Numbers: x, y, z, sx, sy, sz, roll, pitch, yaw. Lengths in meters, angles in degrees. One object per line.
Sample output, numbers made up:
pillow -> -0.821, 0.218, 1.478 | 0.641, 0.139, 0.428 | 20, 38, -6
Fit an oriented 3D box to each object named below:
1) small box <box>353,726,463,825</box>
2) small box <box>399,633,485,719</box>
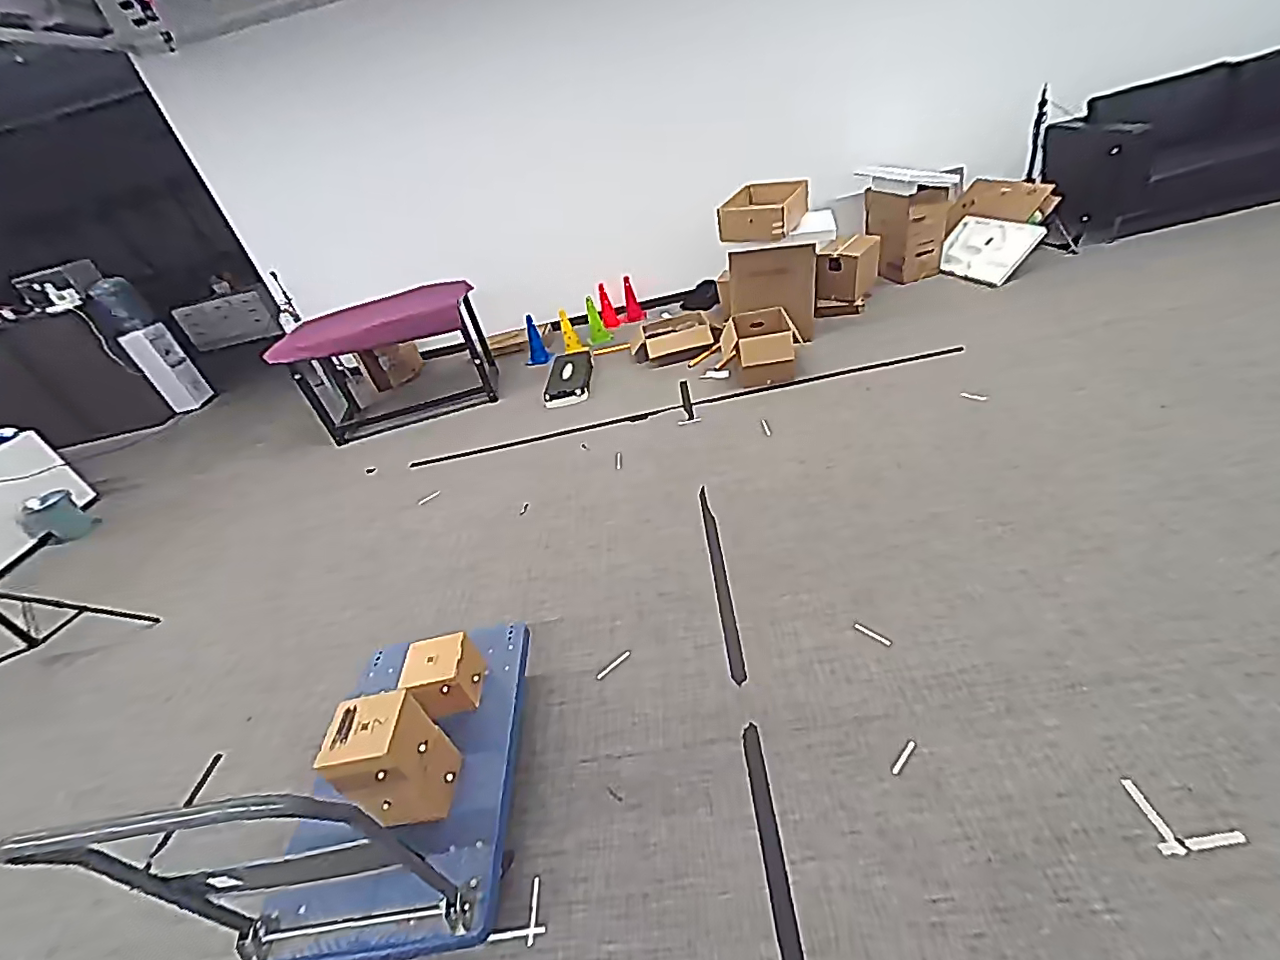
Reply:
small box -> -0.589, 0.766, 1.395 | 0.179, 0.176, 0.168 | -9, 35, 7
small box -> -0.592, 0.597, 1.637 | 0.179, 0.176, 0.168 | -13, 35, 2
